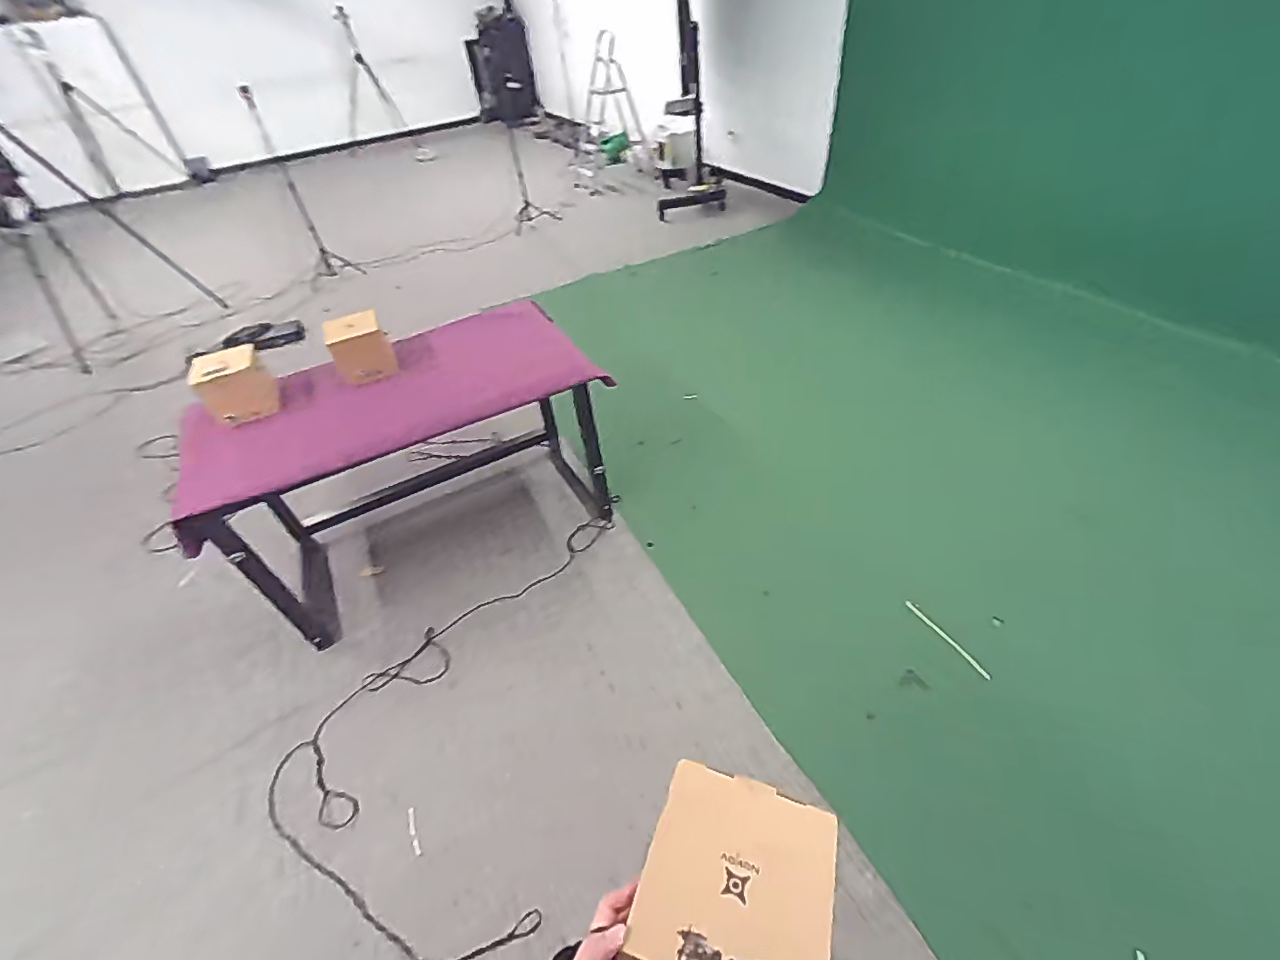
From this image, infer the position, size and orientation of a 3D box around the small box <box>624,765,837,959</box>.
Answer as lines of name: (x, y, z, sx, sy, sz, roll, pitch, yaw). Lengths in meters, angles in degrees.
small box: (0.085, 0.431, 0.532, 0.168, 0.176, 0.179, 13, 36, 15)

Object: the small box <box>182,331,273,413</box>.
small box: (-1.260, -0.326, 1.665, 0.168, 0.176, 0.179, -22, 47, -16)

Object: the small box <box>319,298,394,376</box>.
small box: (-0.931, -0.471, 1.782, 0.168, 0.176, 0.179, -22, 47, -14)
